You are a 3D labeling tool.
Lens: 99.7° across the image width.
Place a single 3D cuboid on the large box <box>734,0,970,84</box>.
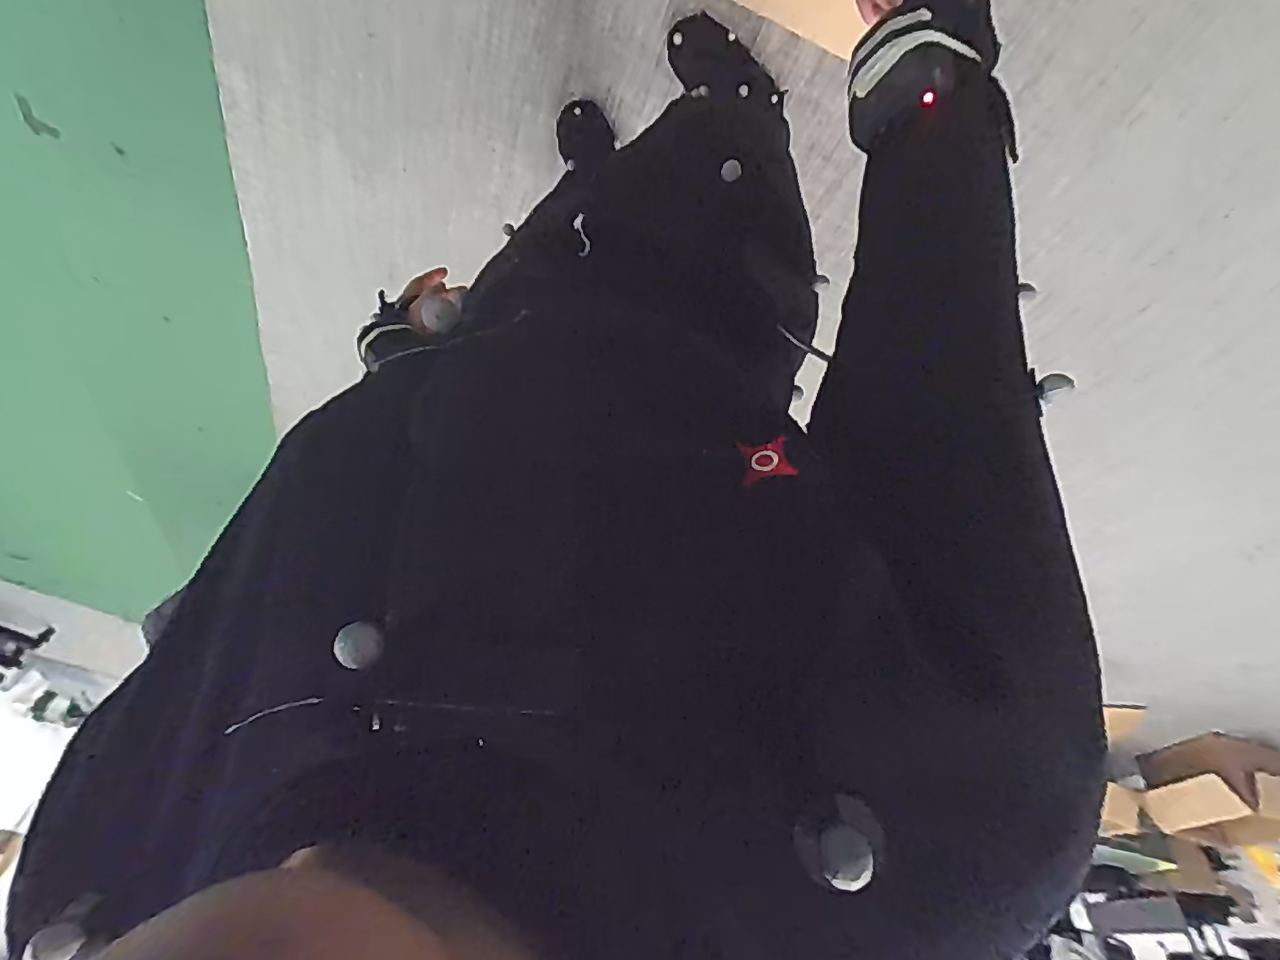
[{"bbox_3d":[0.251,-0.783,0.679,0.408,0.320,0.320,20,137,-8],"label":"large box"}]
